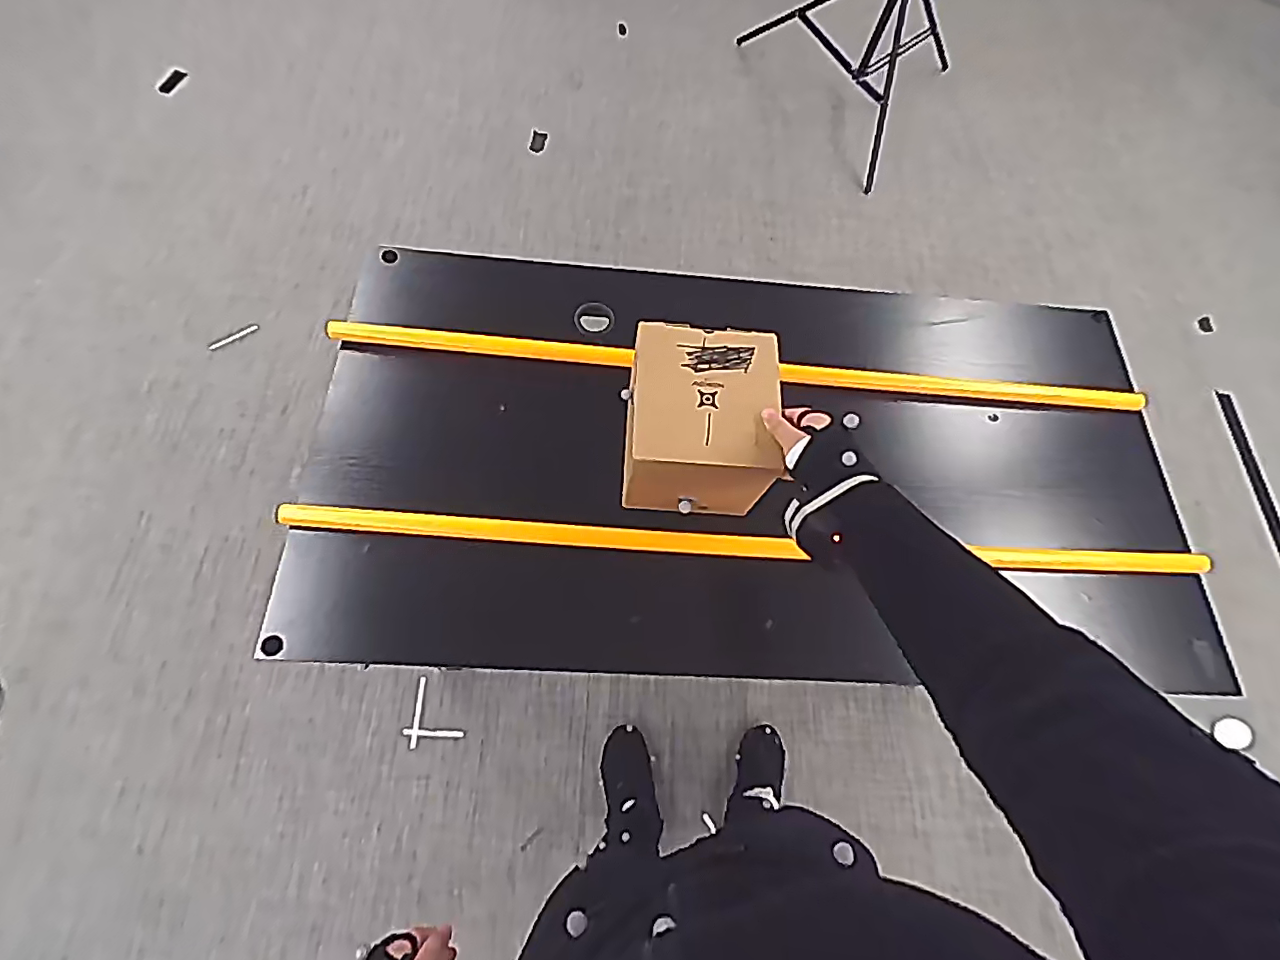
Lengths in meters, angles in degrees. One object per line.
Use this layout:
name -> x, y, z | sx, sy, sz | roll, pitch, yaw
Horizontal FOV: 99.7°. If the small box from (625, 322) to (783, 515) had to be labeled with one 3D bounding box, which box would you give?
small box -> 0.070, -0.068, 0.678 | 0.168, 0.176, 0.179 | 4, 69, -3
